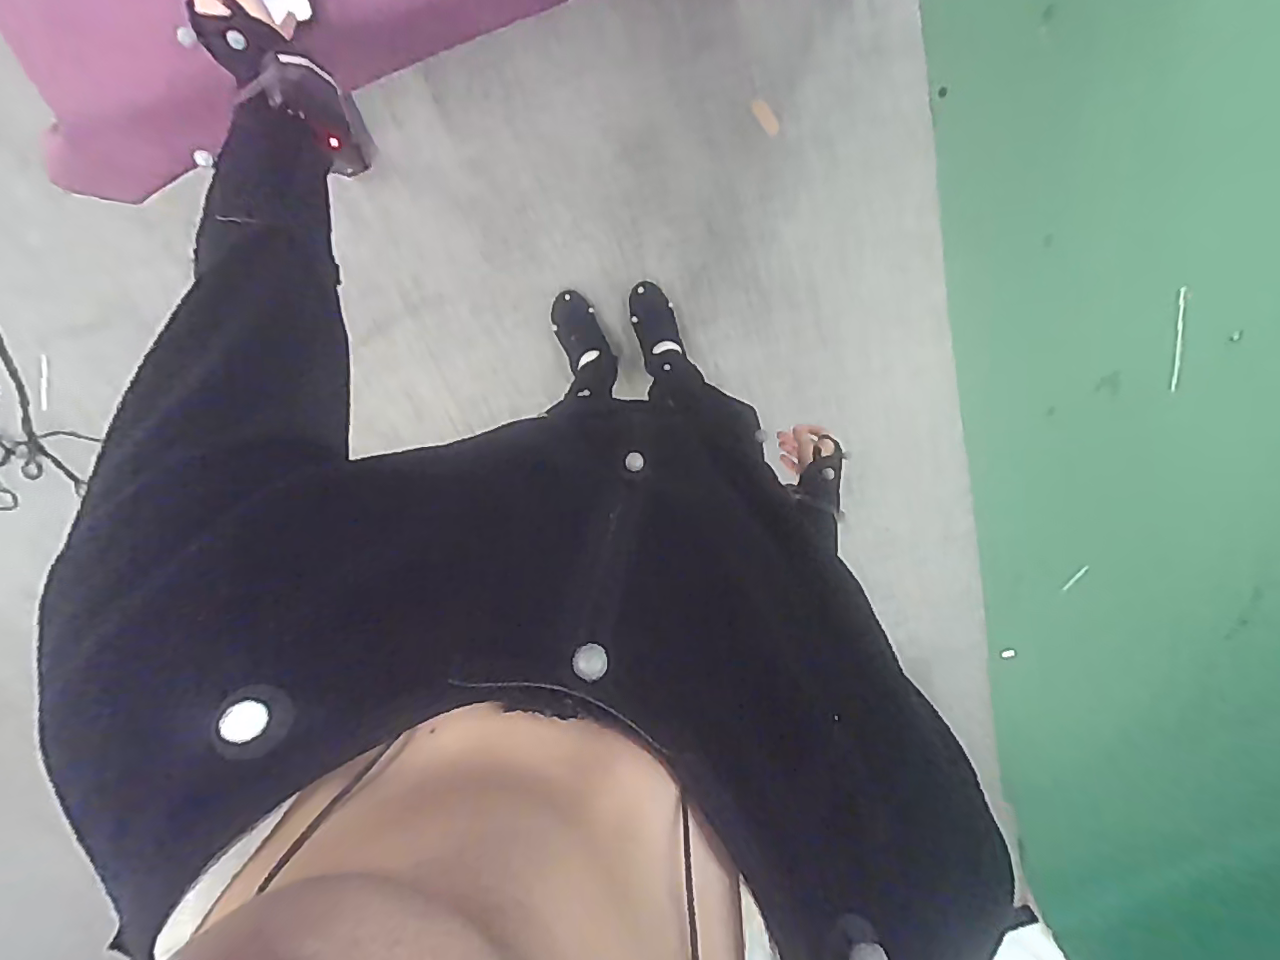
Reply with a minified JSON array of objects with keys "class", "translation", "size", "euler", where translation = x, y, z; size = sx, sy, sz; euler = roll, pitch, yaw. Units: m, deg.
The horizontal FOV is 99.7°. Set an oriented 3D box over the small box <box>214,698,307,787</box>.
[{"class":"small box","translation":[-1.197,0.814,1.697],"size":[0.168,0.176,0.179],"euler":[-21,115,3]}]
